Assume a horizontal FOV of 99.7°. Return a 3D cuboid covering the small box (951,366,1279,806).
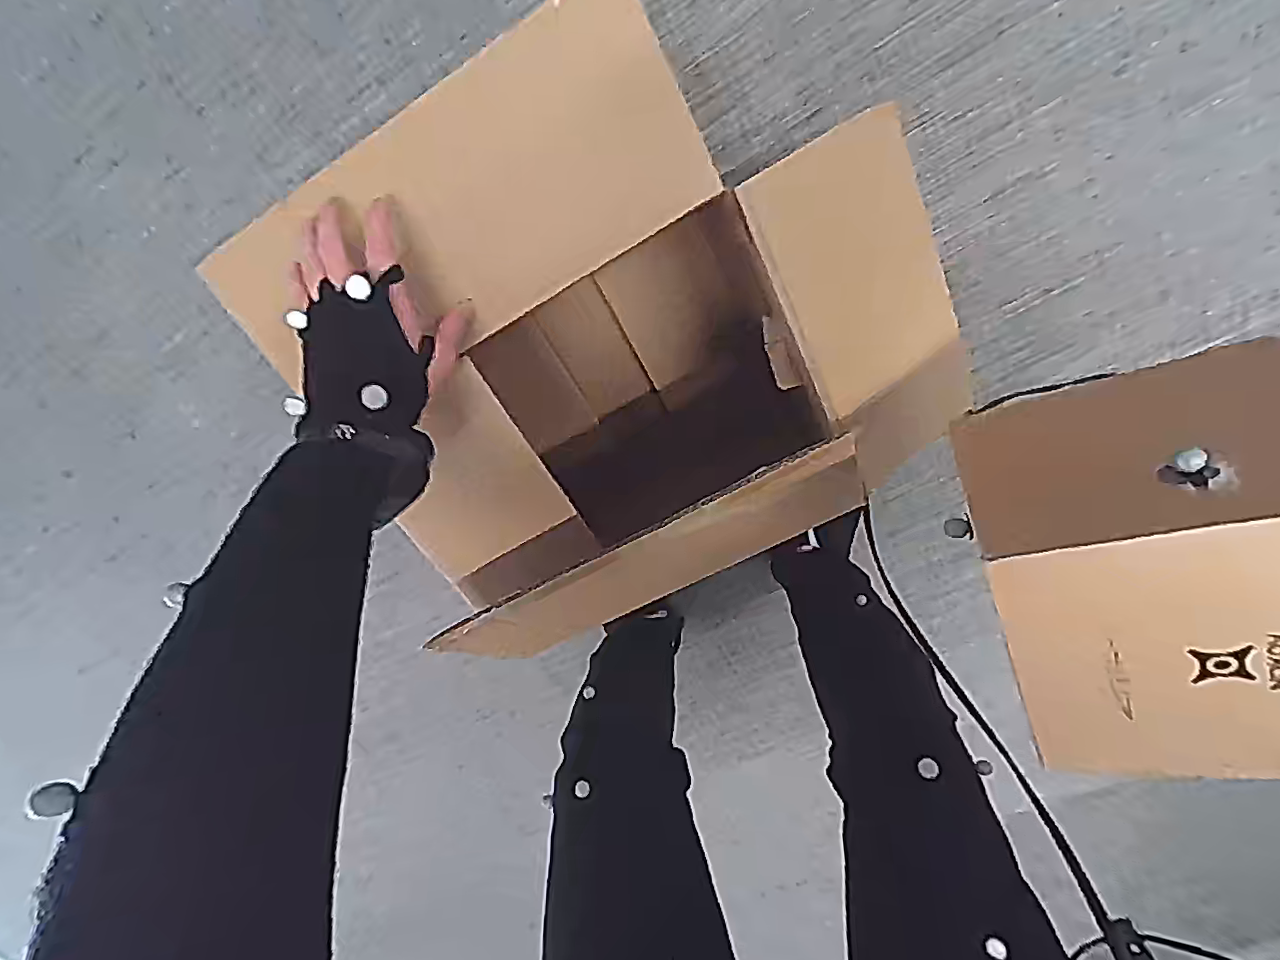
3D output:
[{"bbox_3d":[0.300,0.053,0.309,0.179,0.176,0.168,-14,113,29],"label":"small box"}]
